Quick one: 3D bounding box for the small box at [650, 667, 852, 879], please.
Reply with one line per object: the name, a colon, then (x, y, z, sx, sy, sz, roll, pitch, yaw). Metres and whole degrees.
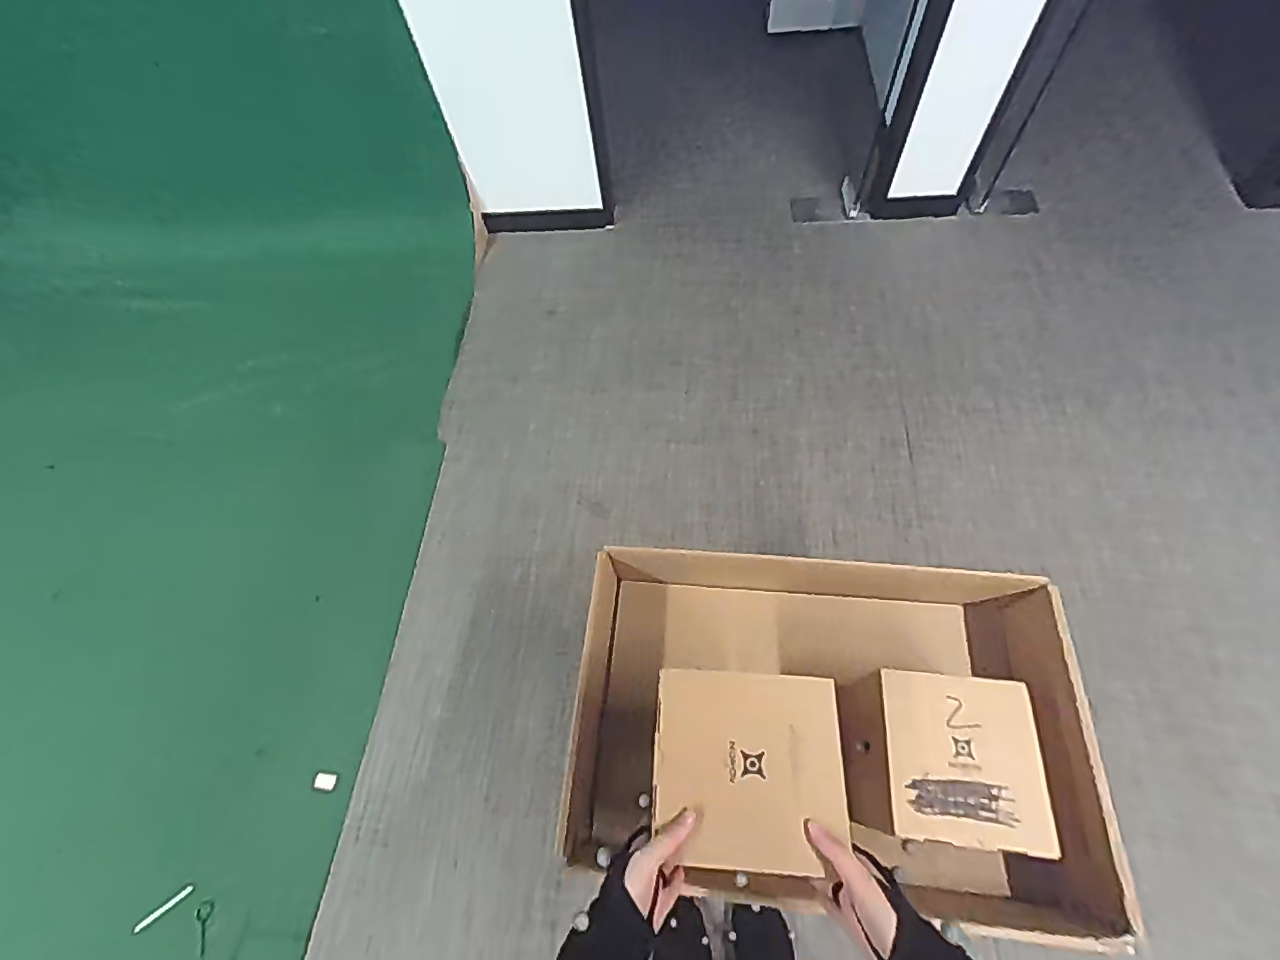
small box: (0.105, 0.306, 0.573, 0.179, 0.176, 0.168, 3, 60, 4)
